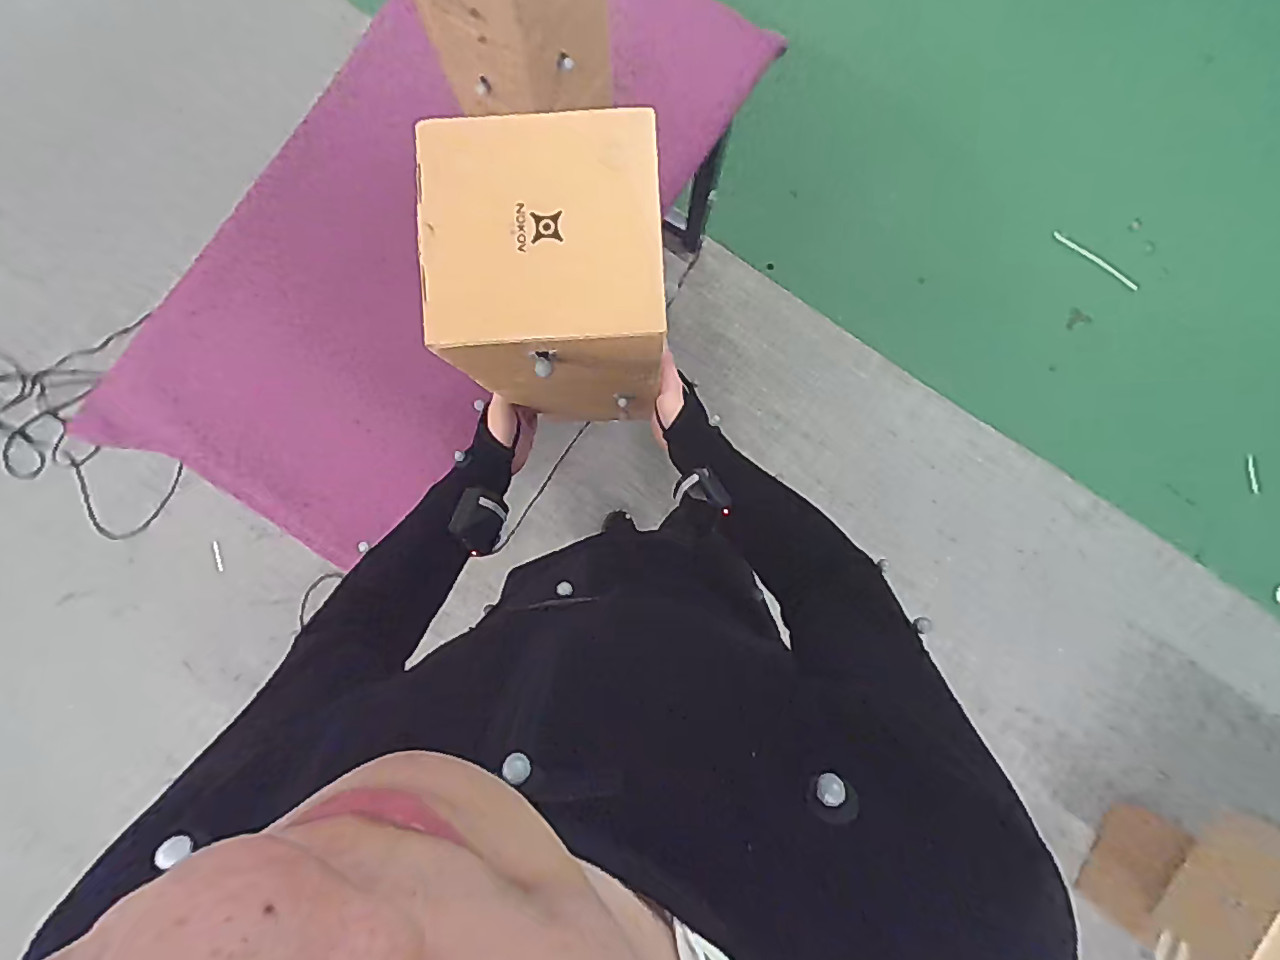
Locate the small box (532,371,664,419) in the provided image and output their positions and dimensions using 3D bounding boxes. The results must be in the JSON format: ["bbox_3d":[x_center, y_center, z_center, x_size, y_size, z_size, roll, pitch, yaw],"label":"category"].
[{"bbox_3d":[-0.056,-0.182,0.793,0.179,0.176,0.168,-1,89,1],"label":"small box"}]

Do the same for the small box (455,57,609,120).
[{"bbox_3d":[-0.160,-0.593,0.880,0.168,0.176,0.179,35,86,1],"label":"small box"}]

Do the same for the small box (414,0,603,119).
[{"bbox_3d":[-0.159,-0.605,0.717,0.168,0.176,0.179,33,87,0],"label":"small box"}]

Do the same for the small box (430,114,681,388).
[{"bbox_3d":[-0.061,-0.176,0.465,0.179,0.176,0.168,-3,89,1],"label":"small box"}]
